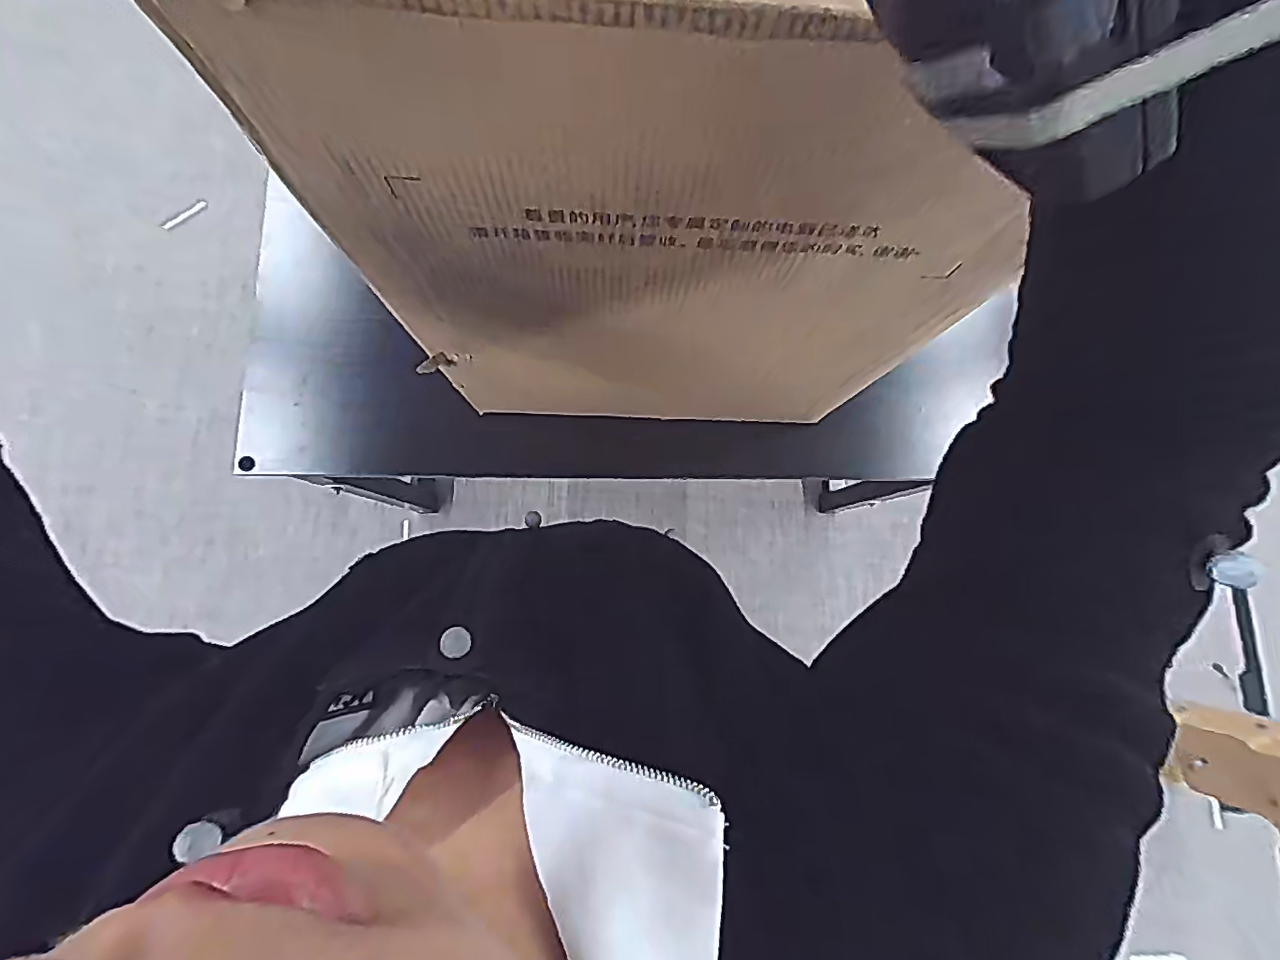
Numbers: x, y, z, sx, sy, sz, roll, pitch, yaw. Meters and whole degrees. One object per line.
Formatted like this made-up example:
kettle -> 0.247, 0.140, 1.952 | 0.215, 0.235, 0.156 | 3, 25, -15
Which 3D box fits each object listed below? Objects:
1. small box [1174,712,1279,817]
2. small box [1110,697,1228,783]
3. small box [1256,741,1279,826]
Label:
small box -> 1.439, 0.660, 1.275 | 0.179, 0.176, 0.168 | -7, 80, -5
small box -> 1.416, 0.684, 1.437 | 0.179, 0.176, 0.168 | -3, 80, -3
small box -> 1.445, 0.644, 1.111 | 0.179, 0.176, 0.168 | -9, 80, -5
